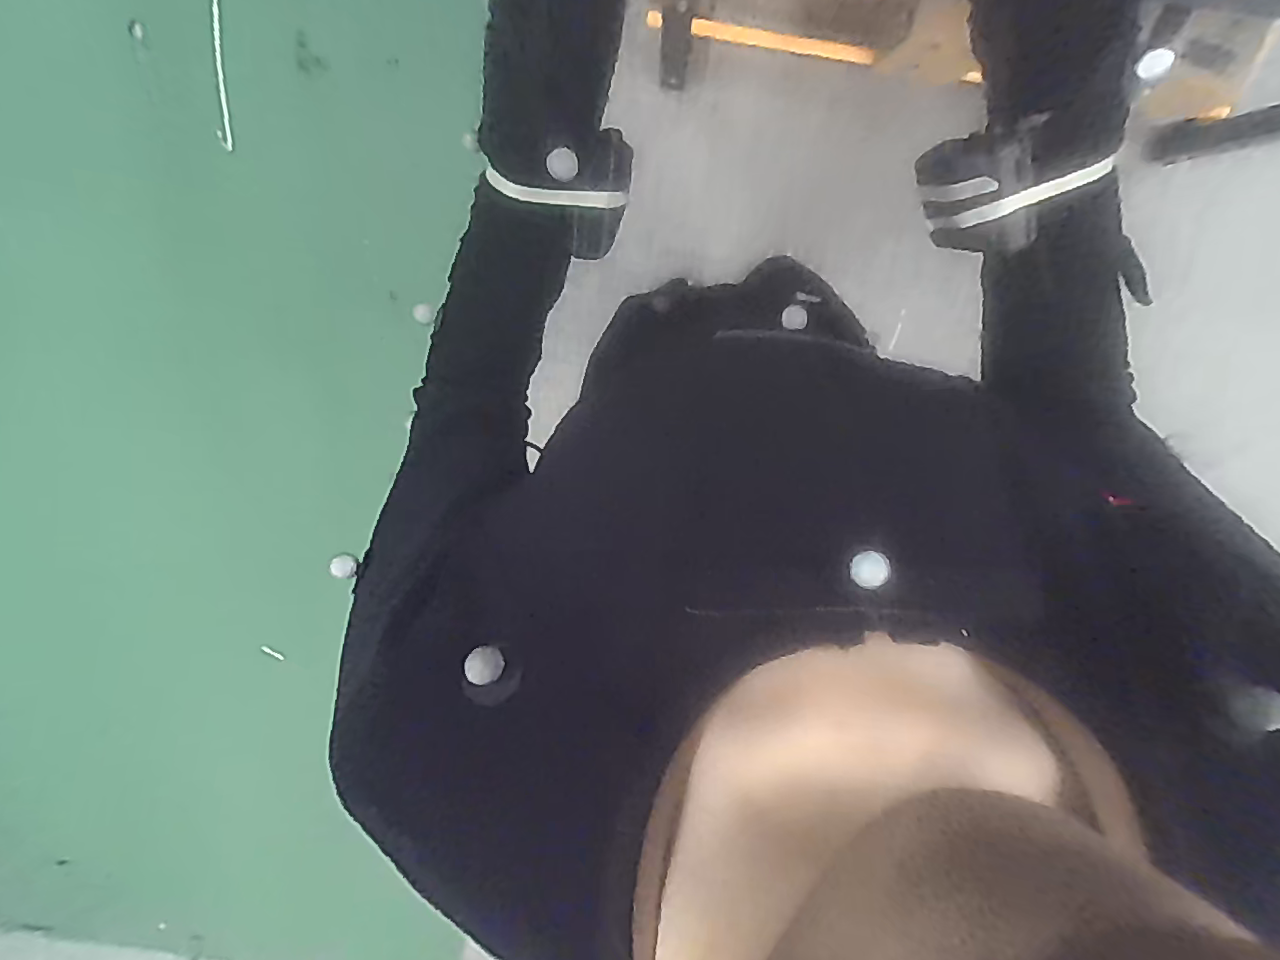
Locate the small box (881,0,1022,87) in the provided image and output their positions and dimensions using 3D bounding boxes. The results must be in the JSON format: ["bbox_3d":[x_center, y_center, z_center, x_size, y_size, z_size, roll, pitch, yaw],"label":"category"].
[{"bbox_3d":[0.568,-0.856,0.984,0.168,0.176,0.179,10,113,-2],"label":"small box"}]
